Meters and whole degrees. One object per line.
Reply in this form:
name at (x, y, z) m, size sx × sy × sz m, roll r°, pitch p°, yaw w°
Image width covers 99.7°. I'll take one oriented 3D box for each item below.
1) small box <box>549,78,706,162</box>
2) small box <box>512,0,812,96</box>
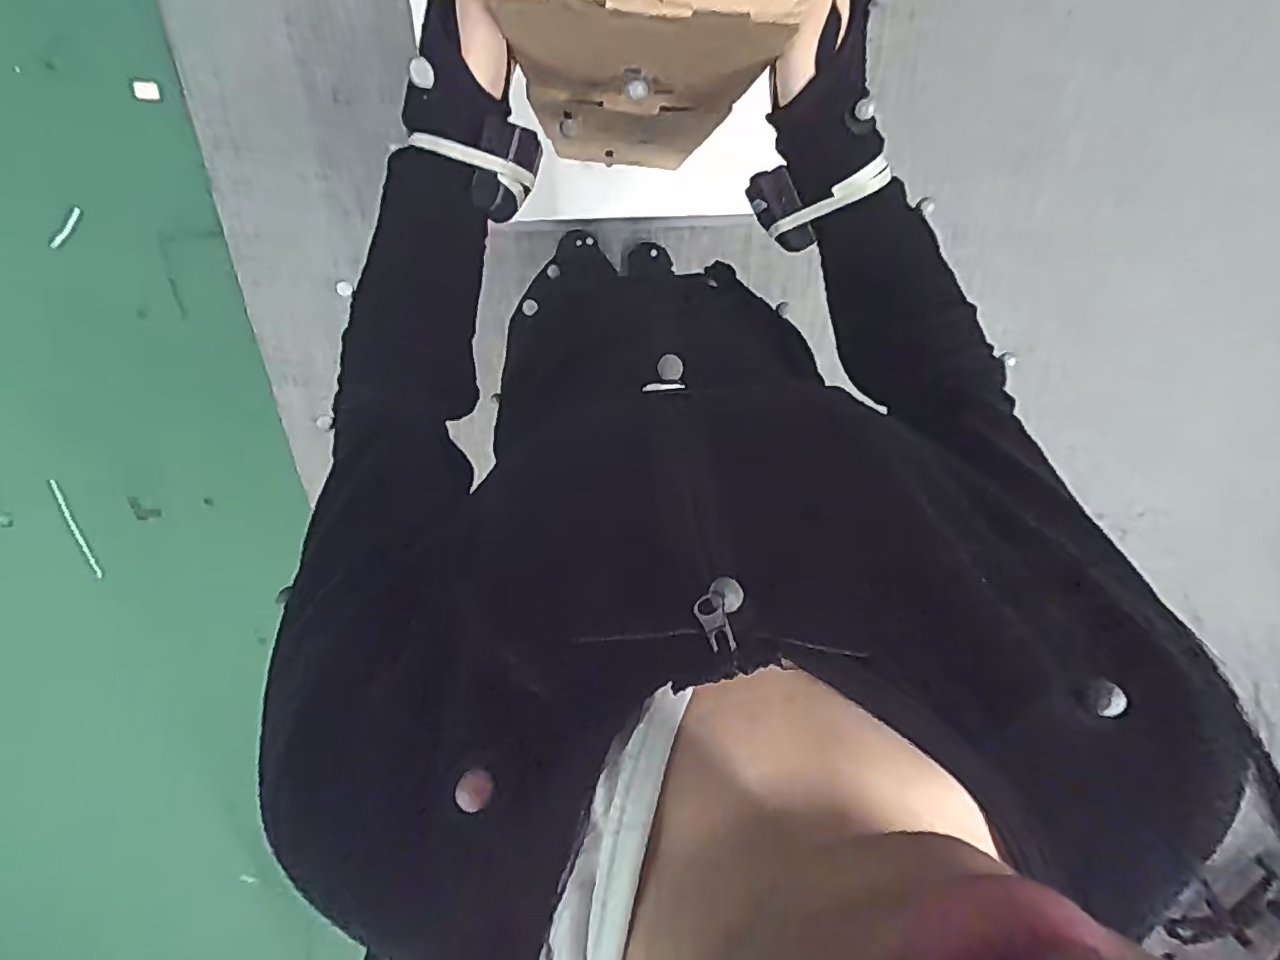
small box at (-0.014, -0.478, 0.611) m, size 0.168 × 0.176 × 0.179 m, roll 2°, pitch 113°, yaw -5°
small box at (0.007, -0.351, 0.307) m, size 0.168 × 0.176 × 0.179 m, roll 2°, pitch 113°, yaw -4°
